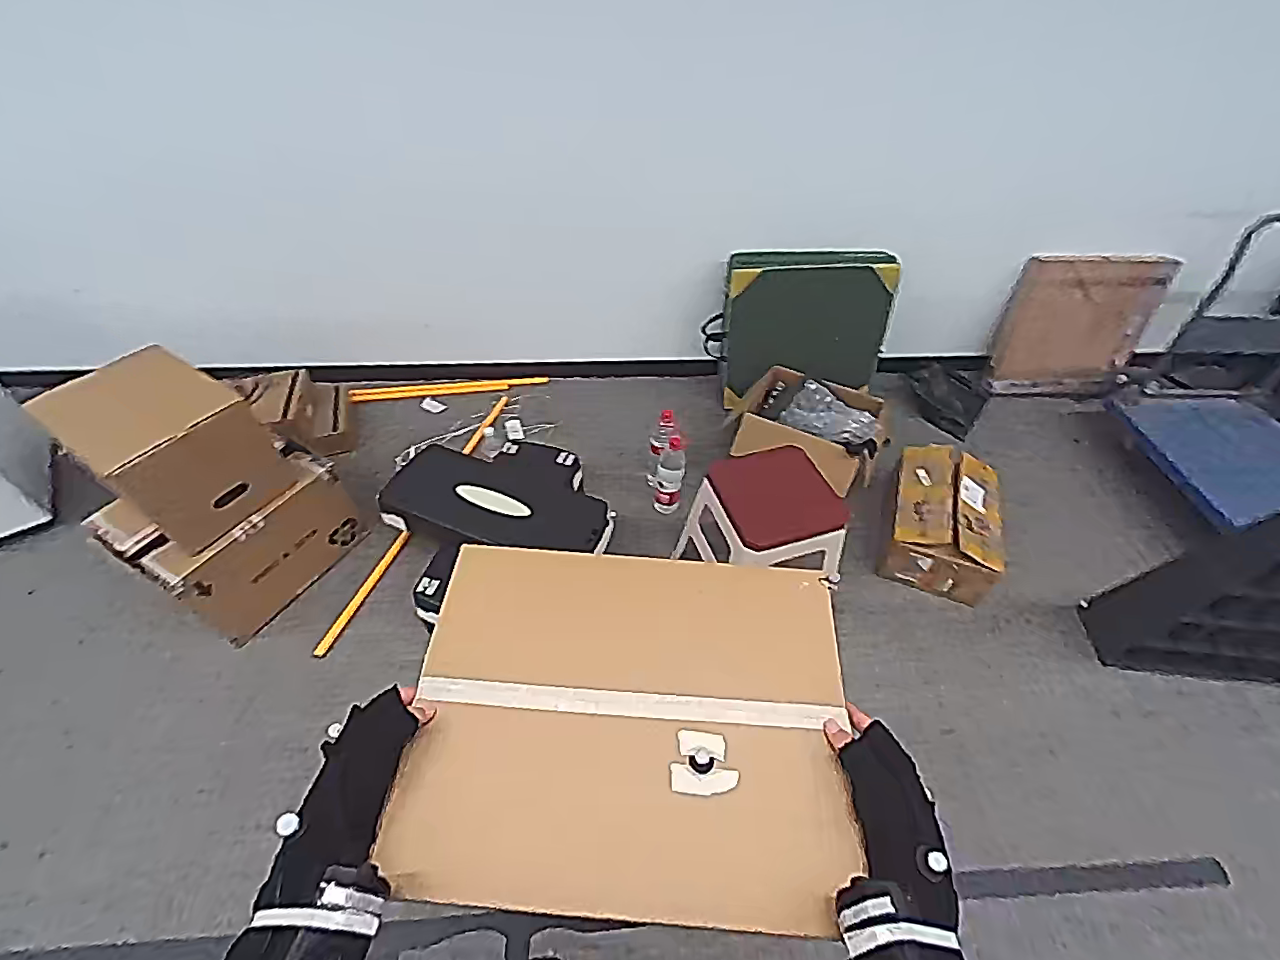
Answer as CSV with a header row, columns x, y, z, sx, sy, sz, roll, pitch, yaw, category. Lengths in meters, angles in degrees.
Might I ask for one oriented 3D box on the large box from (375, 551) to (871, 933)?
x,y,z,sx,sy,sz,roll,pitch,yaw,category
-0.010,0.306,0.631,0.408,0.320,0.320,5,53,2,large box
